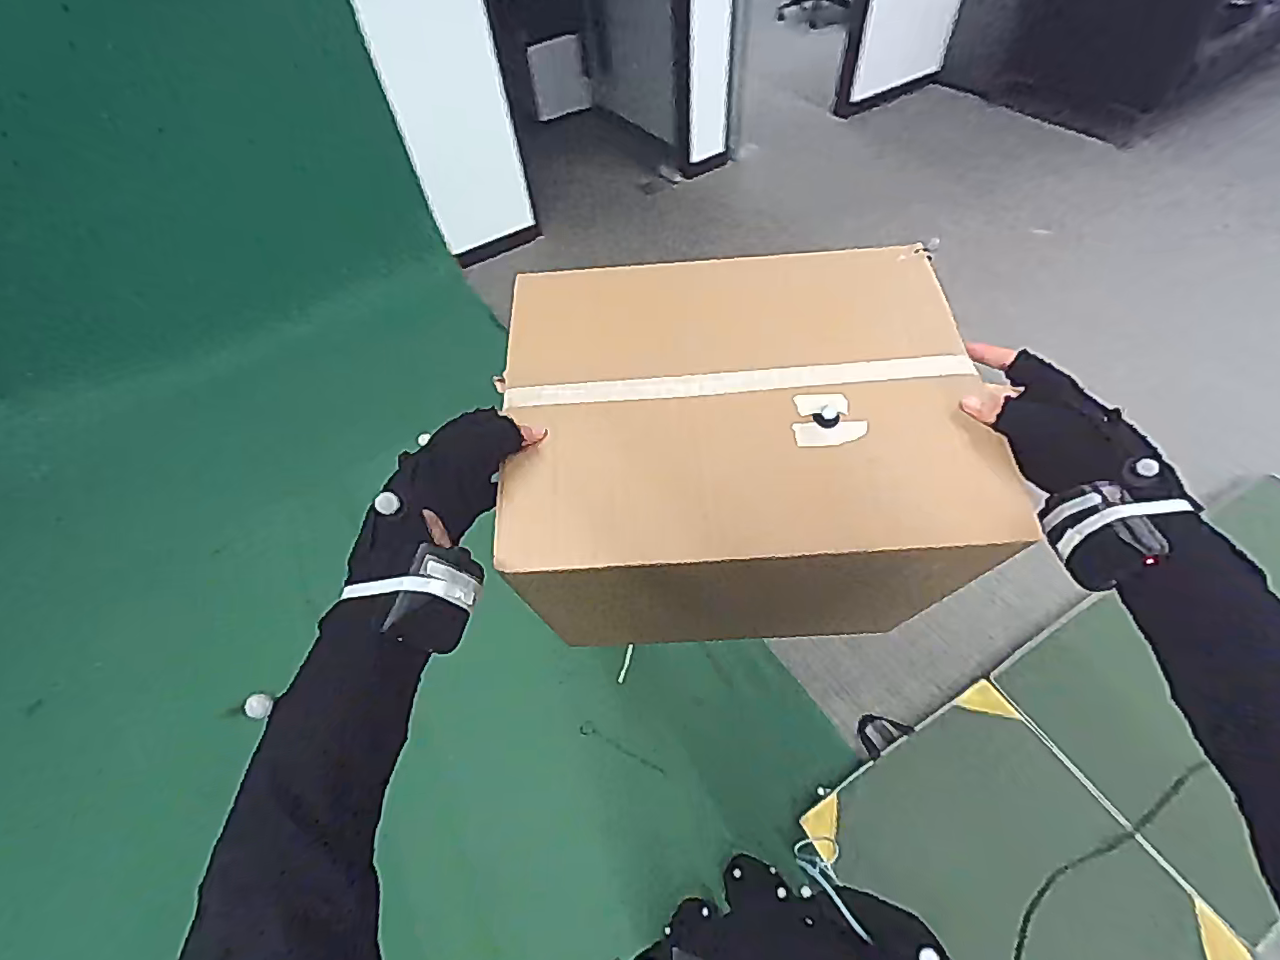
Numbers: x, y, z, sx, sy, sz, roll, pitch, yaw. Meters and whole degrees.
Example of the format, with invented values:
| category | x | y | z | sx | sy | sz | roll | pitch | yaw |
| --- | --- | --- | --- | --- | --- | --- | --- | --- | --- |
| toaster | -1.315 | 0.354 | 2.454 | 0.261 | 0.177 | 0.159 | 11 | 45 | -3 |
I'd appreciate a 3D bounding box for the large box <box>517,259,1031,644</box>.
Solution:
| category | x | y | z | sx | sy | sz | roll | pitch | yaw |
| --- | --- | --- | --- | --- | --- | --- | --- | --- | --- |
| large box | 0.099 | -0.010 | 0.612 | 0.408 | 0.320 | 0.320 | -3 | 63 | 1 |
